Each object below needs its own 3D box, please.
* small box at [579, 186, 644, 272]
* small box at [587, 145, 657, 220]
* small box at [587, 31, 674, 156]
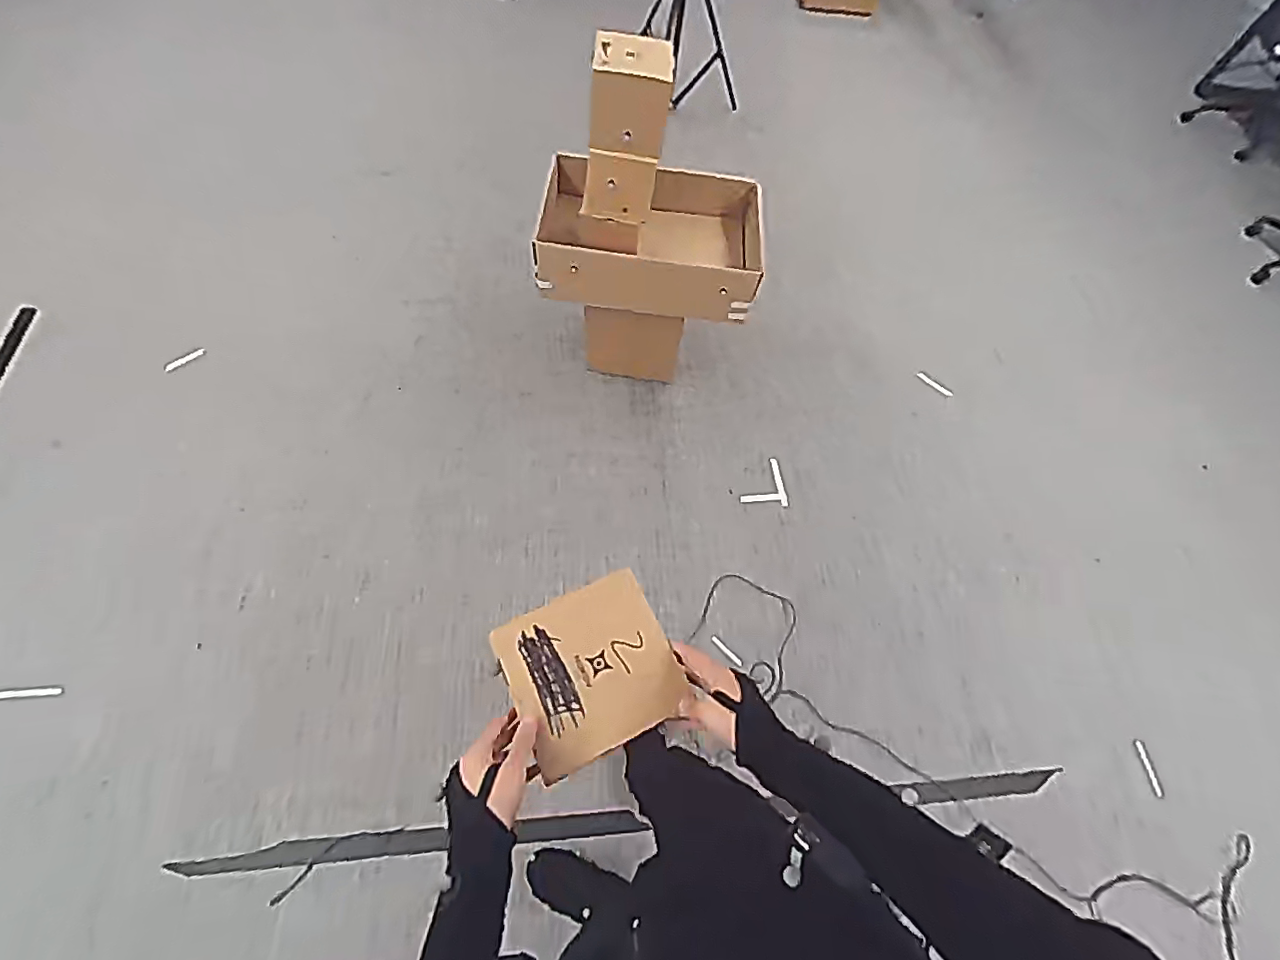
[{"bbox_3d":[-0.076,-0.720,1.525,0.168,0.176,0.179,9,62,-4],"label":"small box"},{"bbox_3d":[-0.045,-0.801,1.387,0.168,0.176,0.179,6,62,-5],"label":"small box"},{"bbox_3d":[-0.024,-0.883,1.247,0.179,0.176,0.168,5,62,-6],"label":"small box"}]
